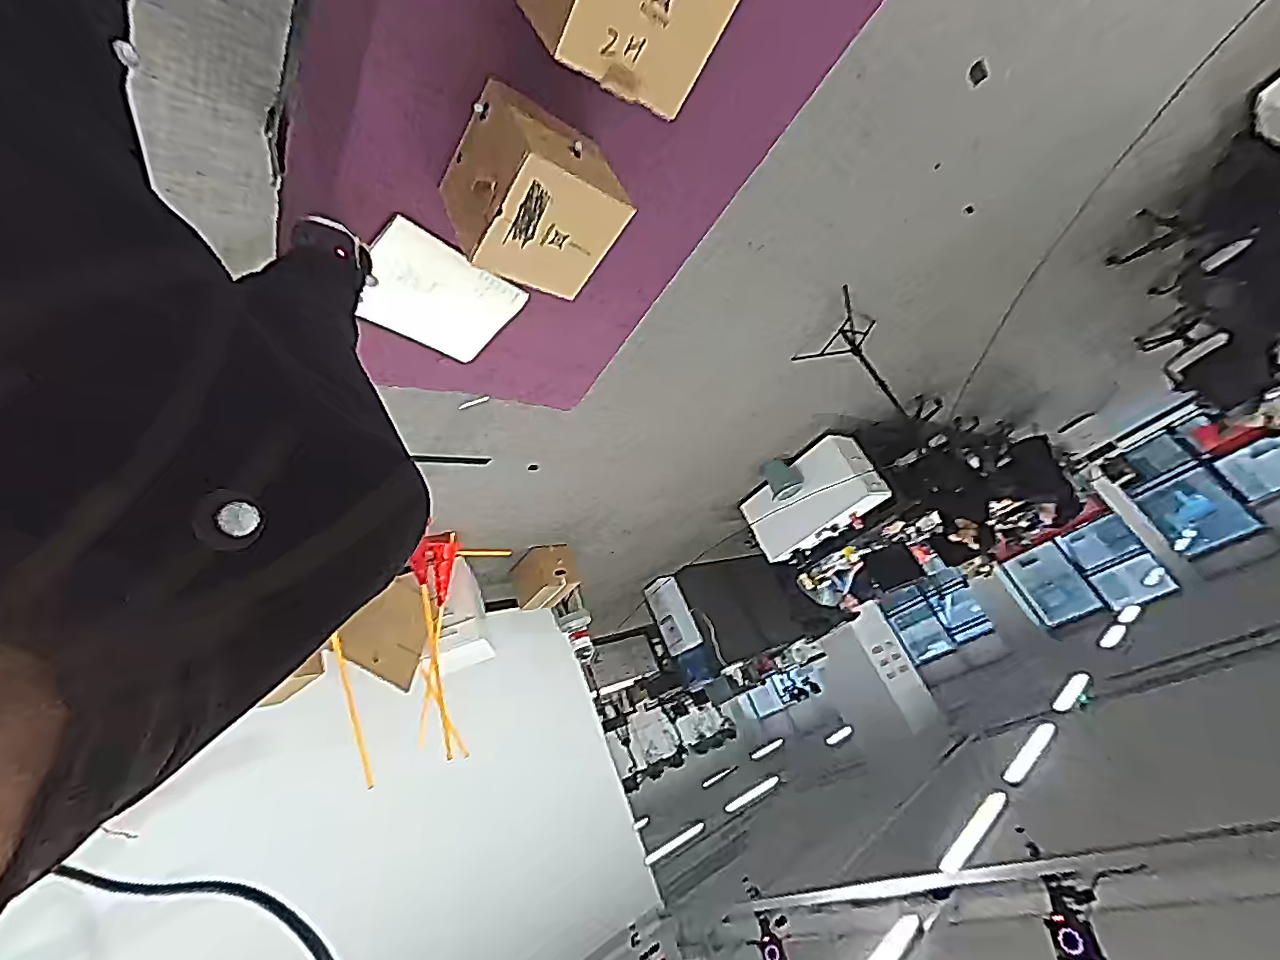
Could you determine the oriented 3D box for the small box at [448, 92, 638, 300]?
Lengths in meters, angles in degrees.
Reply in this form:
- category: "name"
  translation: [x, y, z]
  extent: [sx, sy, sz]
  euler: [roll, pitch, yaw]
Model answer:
- category: "small box"
  translation: [-0.141, -0.389, 0.748]
  extent: [0.179, 0.176, 0.168]
  euler: [2, 144, -46]
